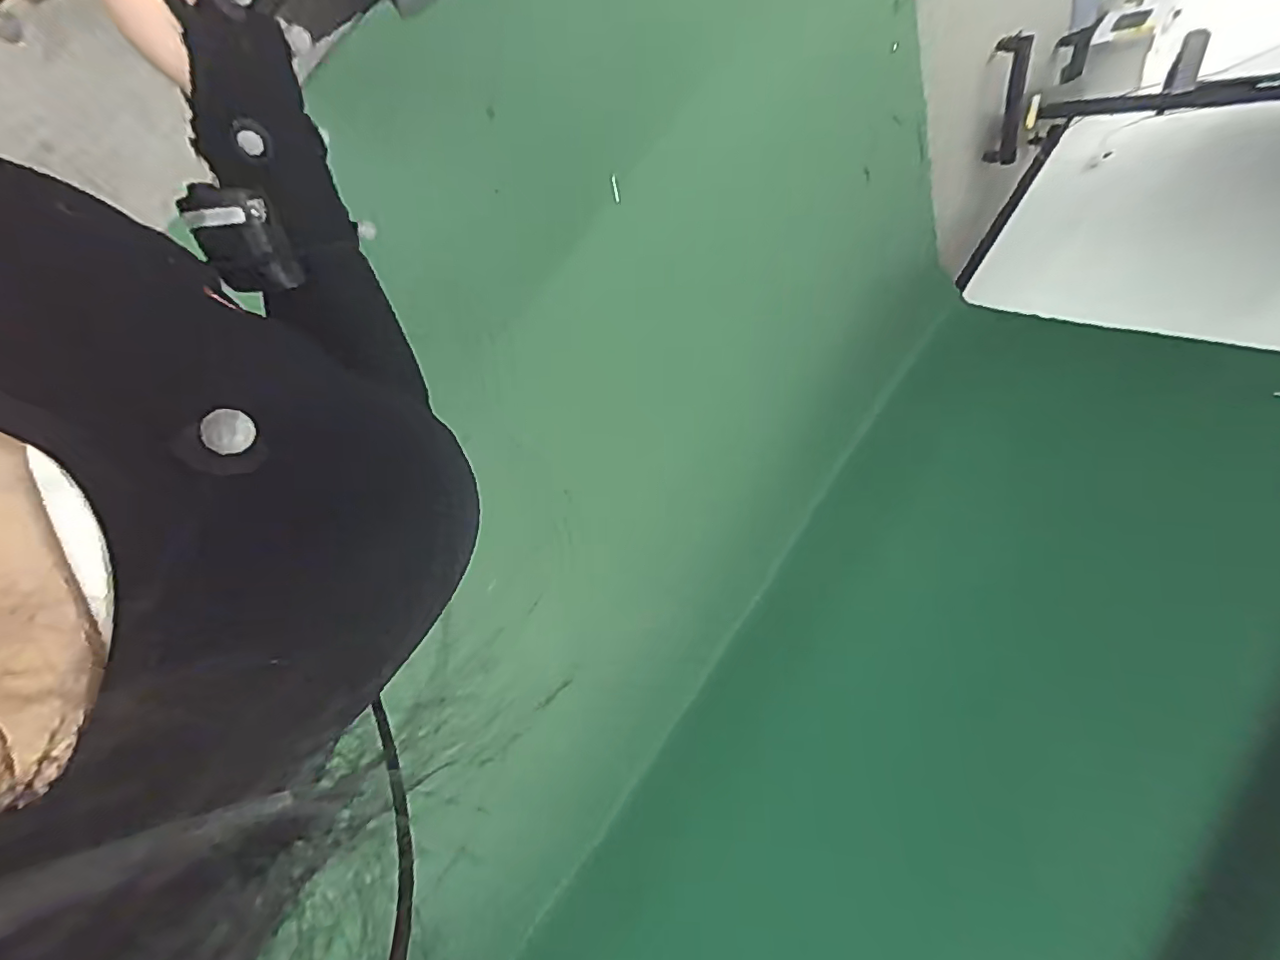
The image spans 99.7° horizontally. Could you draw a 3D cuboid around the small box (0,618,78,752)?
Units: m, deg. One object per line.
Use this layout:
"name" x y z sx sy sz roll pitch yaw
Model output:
"small box" -1.274 0.406 1.062 0.179 0.176 0.168 -41 135 -21
